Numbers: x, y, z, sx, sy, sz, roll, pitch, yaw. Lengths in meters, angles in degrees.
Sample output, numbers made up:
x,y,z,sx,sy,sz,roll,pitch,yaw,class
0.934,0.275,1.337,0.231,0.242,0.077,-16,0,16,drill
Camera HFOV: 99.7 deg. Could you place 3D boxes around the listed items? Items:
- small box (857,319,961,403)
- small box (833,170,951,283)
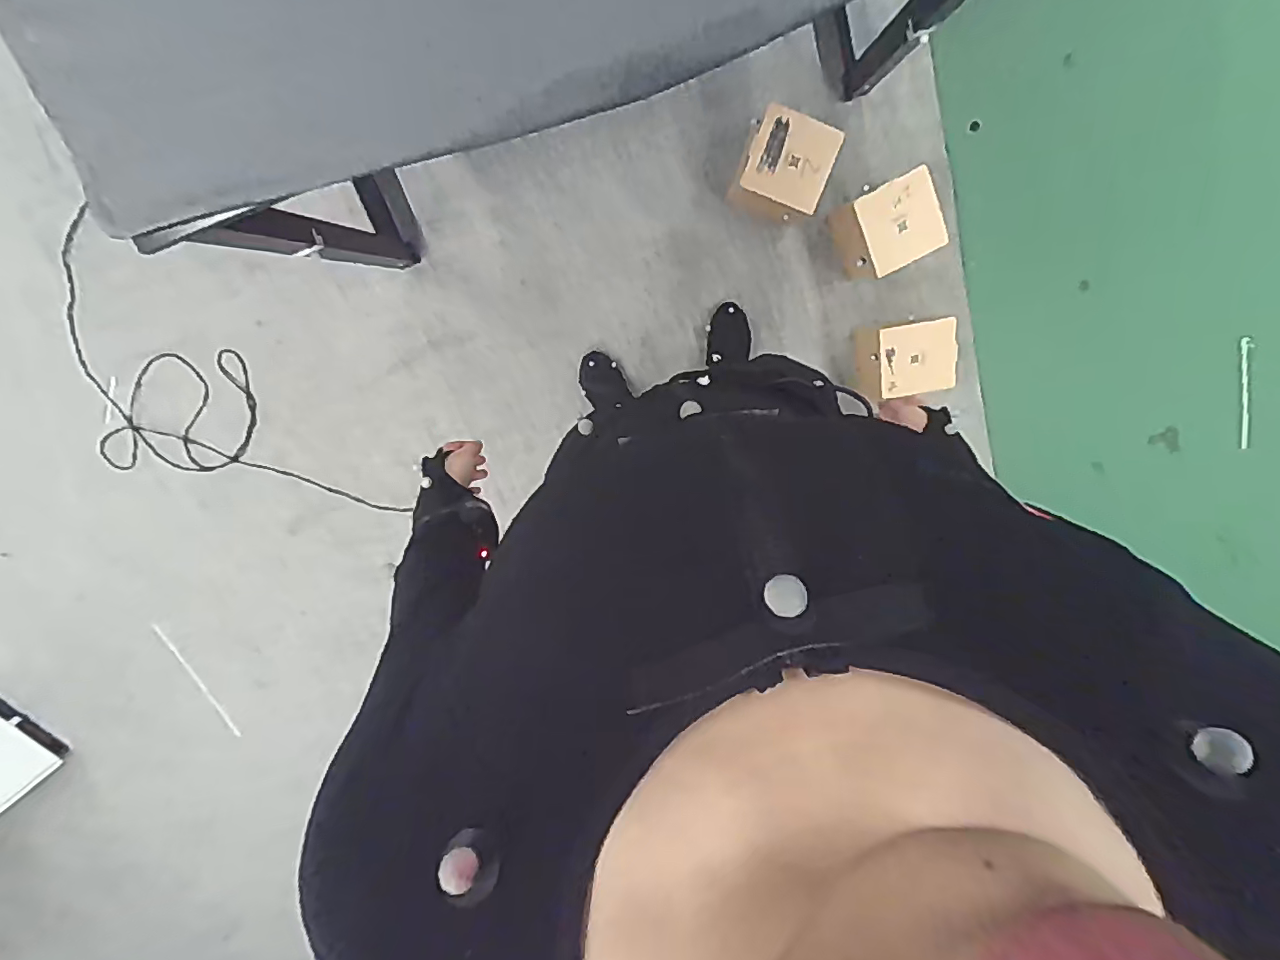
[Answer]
x,y,z,sx,sy,sz,roll,pitch,yaw,class
0.649,-0.296,1.321,0.179,0.176,0.168,-9,108,4,small box
0.567,-0.567,1.234,0.168,0.176,0.179,-25,106,8,small box
